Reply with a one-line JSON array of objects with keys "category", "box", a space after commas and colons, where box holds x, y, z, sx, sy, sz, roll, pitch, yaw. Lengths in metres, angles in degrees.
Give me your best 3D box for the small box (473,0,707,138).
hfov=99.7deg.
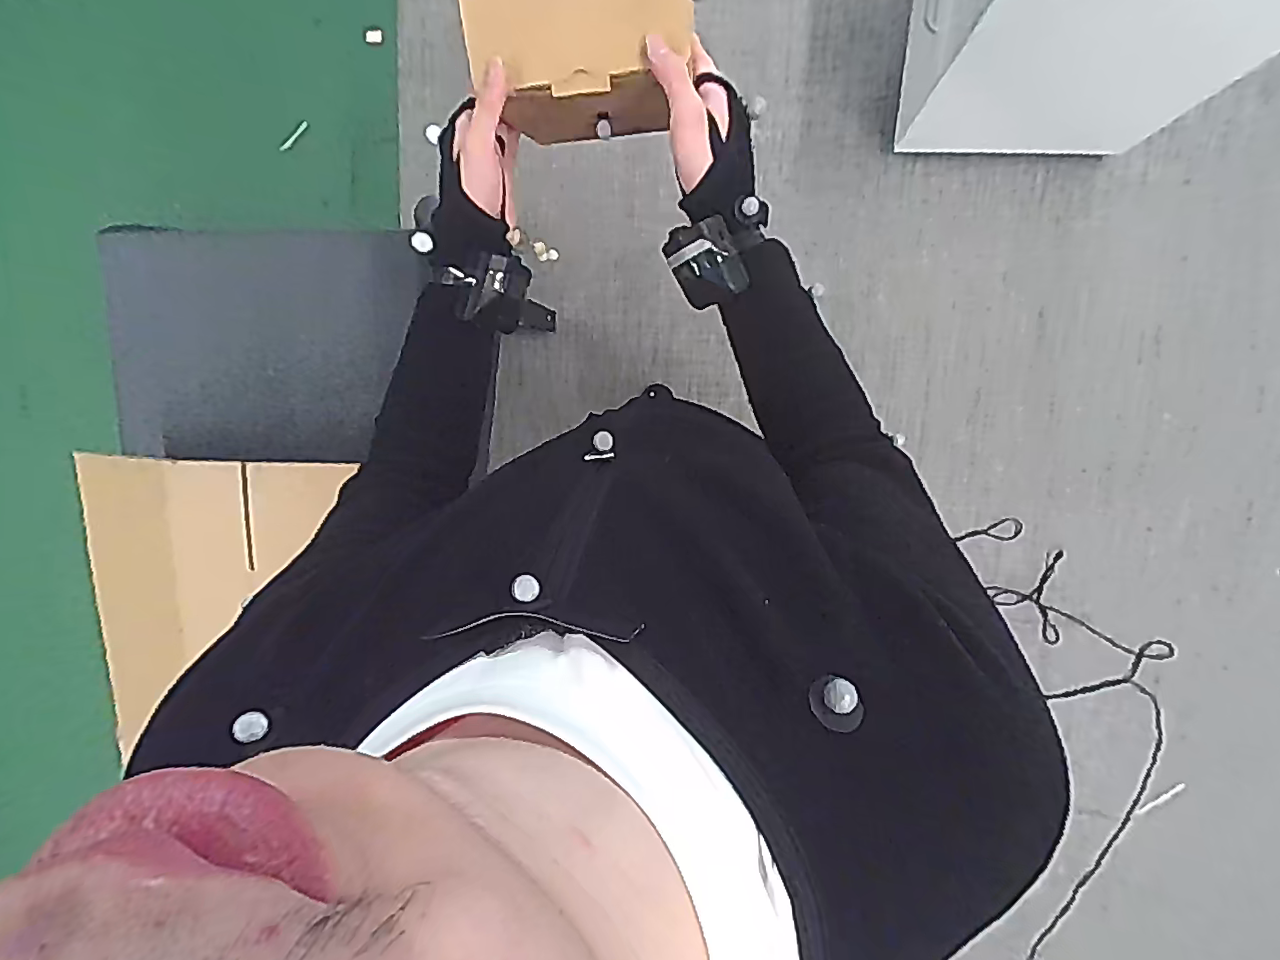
[{"category": "small box", "box": [-0.033, -0.404, 0.447, 0.168, 0.176, 0.179, -4, 110, 9]}]
